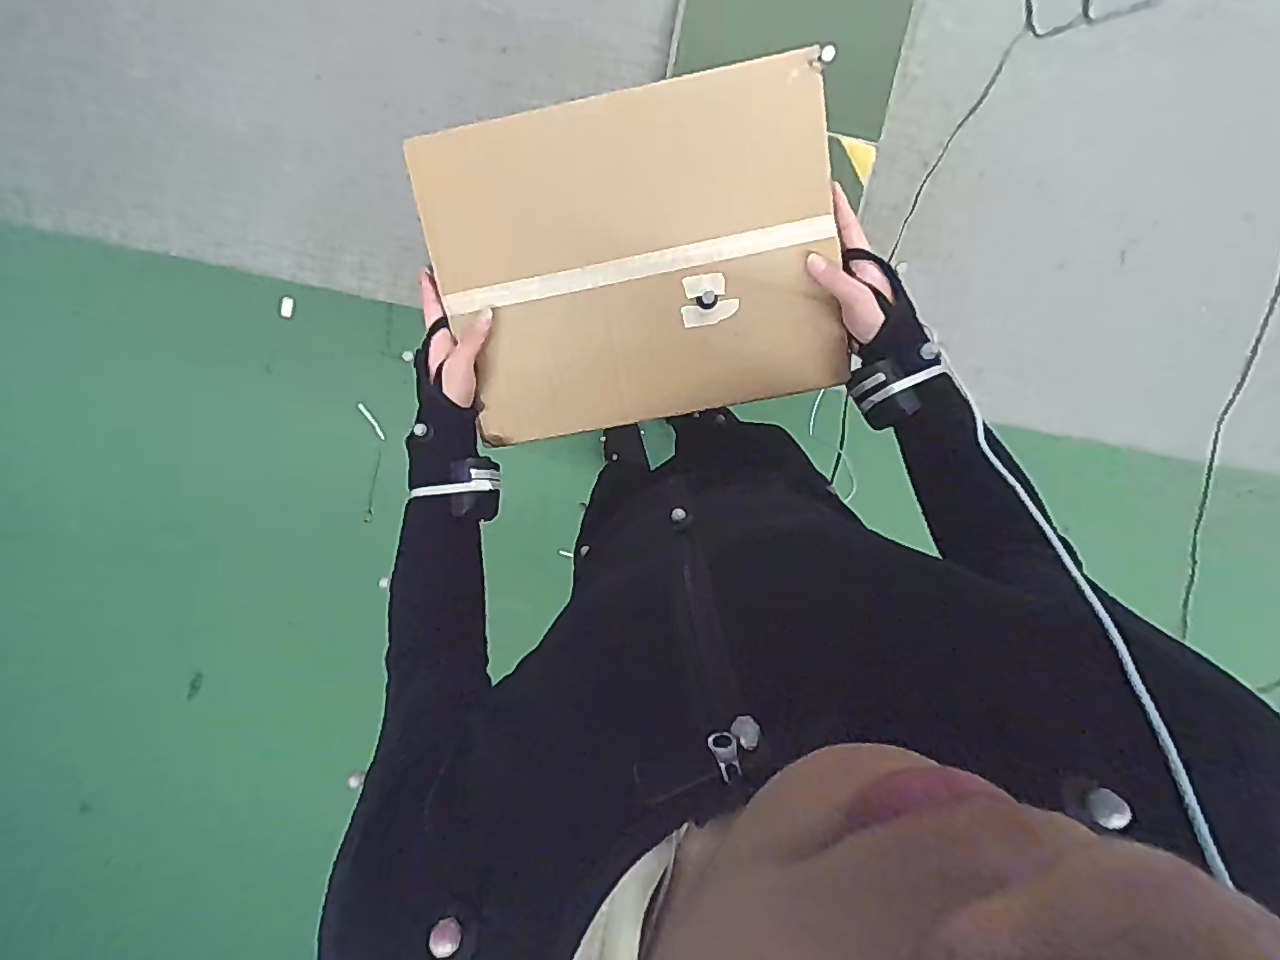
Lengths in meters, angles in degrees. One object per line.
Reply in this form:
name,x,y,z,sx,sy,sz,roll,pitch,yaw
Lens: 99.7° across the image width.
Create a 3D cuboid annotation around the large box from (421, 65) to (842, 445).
large box,0.000,-0.252,0.709,0.408,0.320,0.320,-9,104,3
